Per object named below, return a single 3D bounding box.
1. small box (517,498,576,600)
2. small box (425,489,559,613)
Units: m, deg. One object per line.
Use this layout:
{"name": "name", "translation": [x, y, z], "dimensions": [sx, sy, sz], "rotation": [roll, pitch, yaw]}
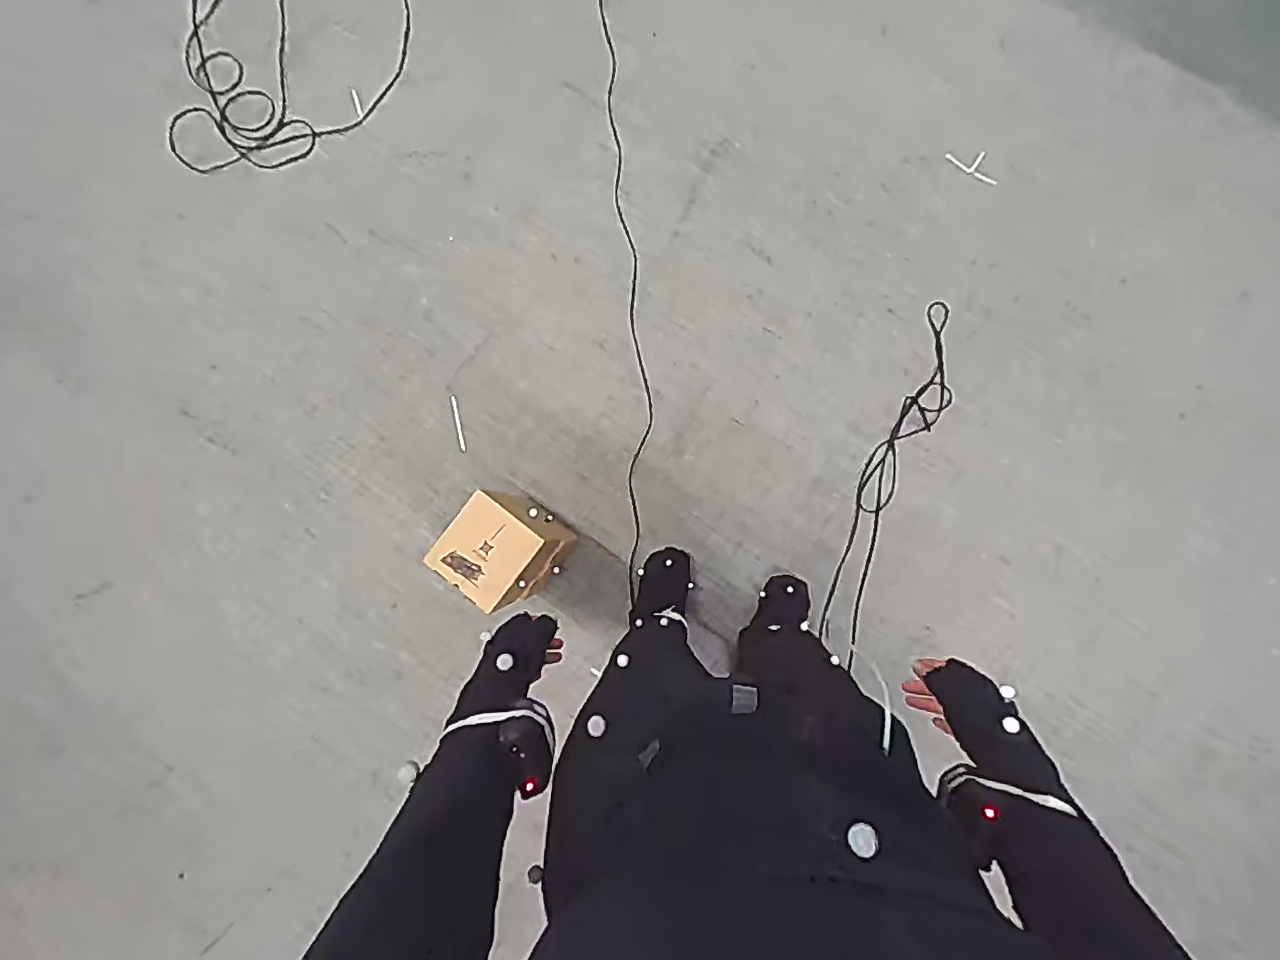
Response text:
{"name": "small box", "translation": [-0.270, 0.149, 1.253], "dimensions": [0.179, 0.176, 0.168], "rotation": [36, 90, 4]}
{"name": "small box", "translation": [-0.285, 0.137, 1.089], "dimensions": [0.168, 0.176, 0.179], "rotation": [37, 89, 5]}
